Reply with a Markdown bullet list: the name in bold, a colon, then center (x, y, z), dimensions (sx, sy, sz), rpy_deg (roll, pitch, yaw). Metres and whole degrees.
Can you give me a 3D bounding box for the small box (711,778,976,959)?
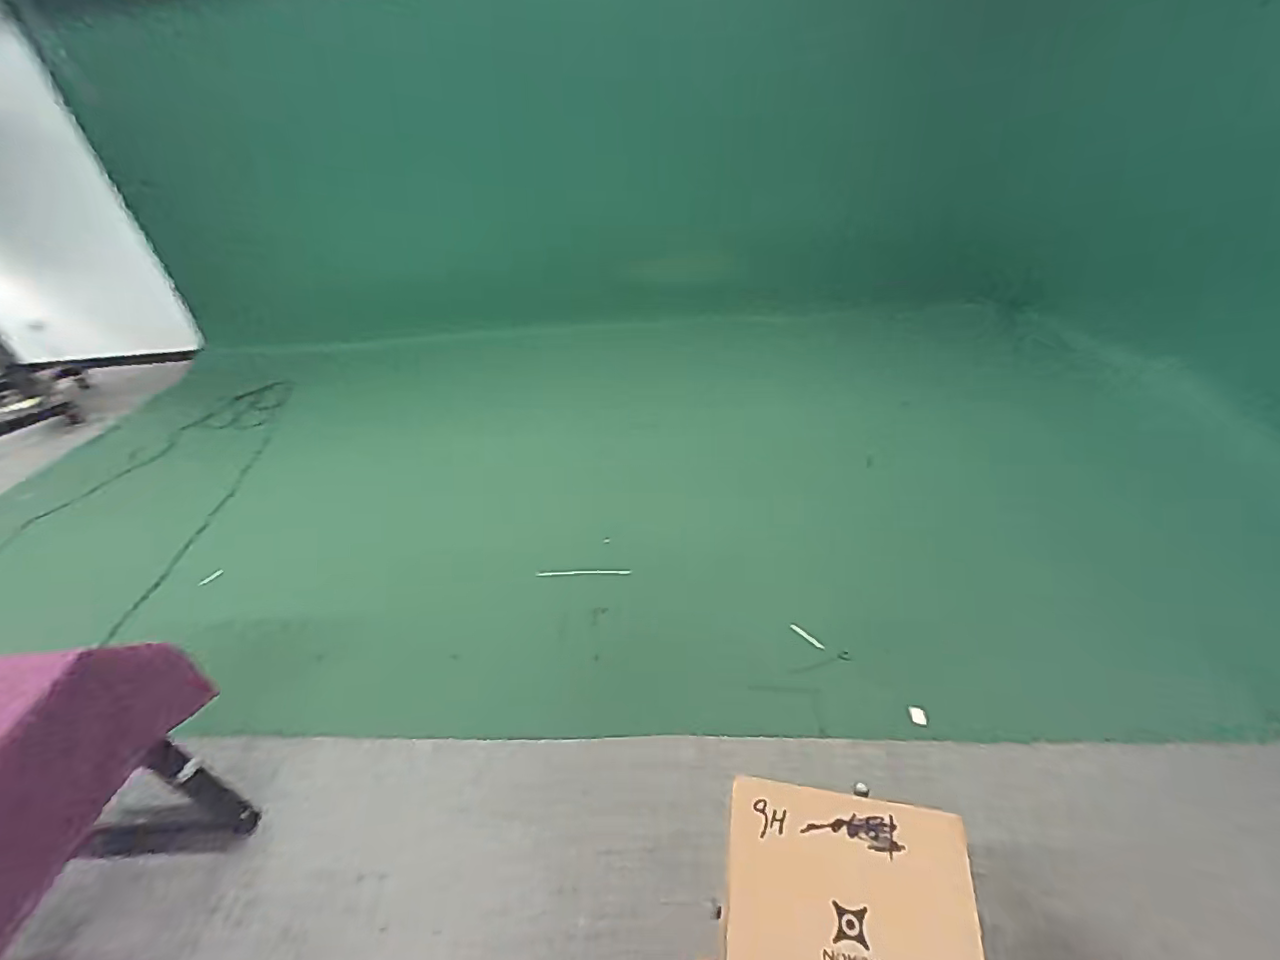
- **small box**: center (0.141, 0.353, 0.417), dimensions (0.168, 0.176, 0.179), rpy_deg (4, 53, 10)
